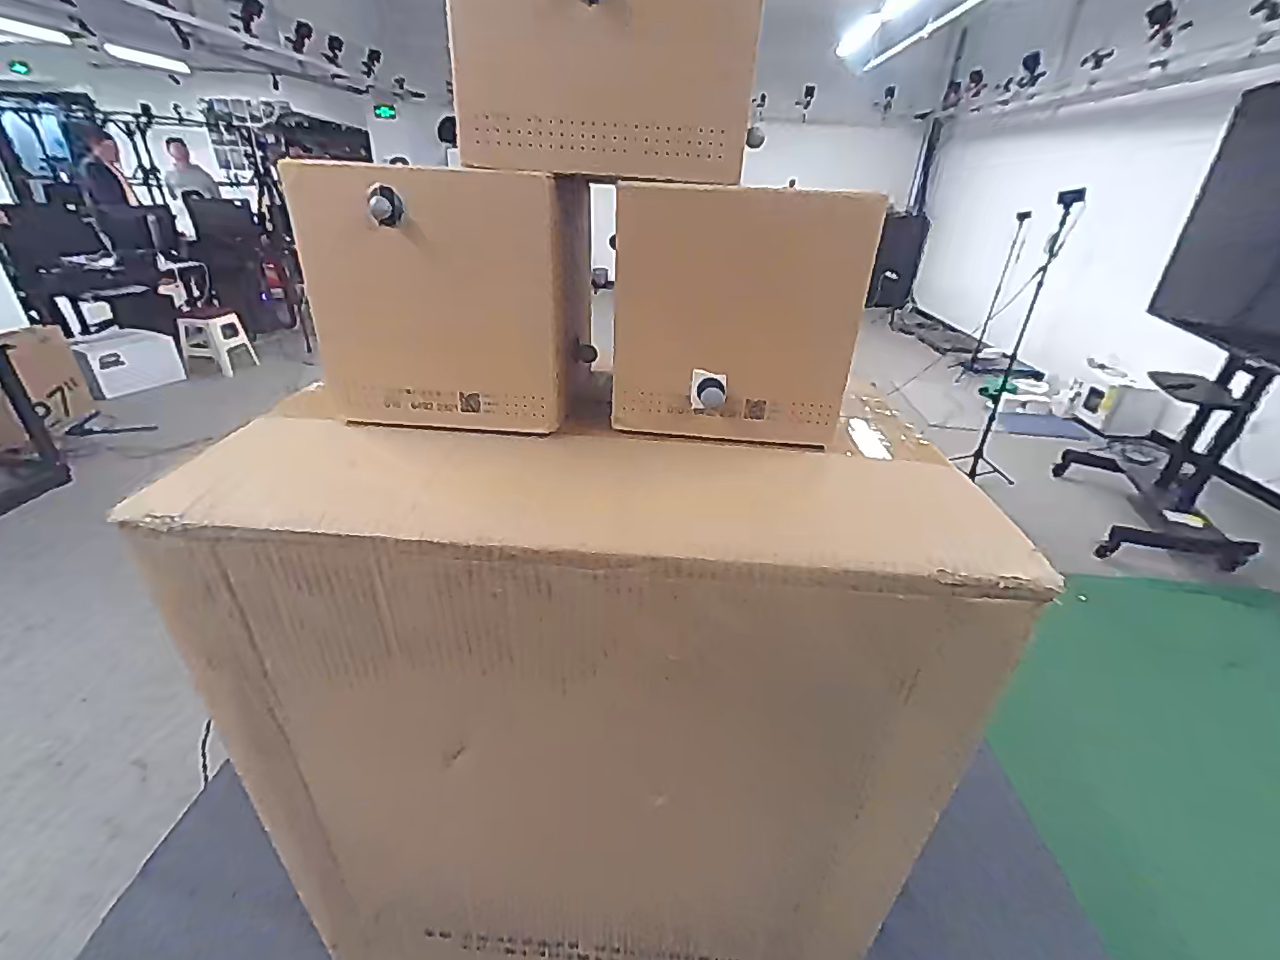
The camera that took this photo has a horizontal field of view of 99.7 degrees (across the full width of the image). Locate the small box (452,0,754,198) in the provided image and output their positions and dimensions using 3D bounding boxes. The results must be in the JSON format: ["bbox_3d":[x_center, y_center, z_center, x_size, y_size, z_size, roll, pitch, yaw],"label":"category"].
[{"bbox_3d":[-0.018,-0.295,0.377,0.179,0.176,0.168,3,26,1],"label":"small box"}]

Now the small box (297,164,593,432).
[{"bbox_3d":[-0.132,-0.150,0.441,0.168,0.176,0.179,3,26,3],"label":"small box"}]
